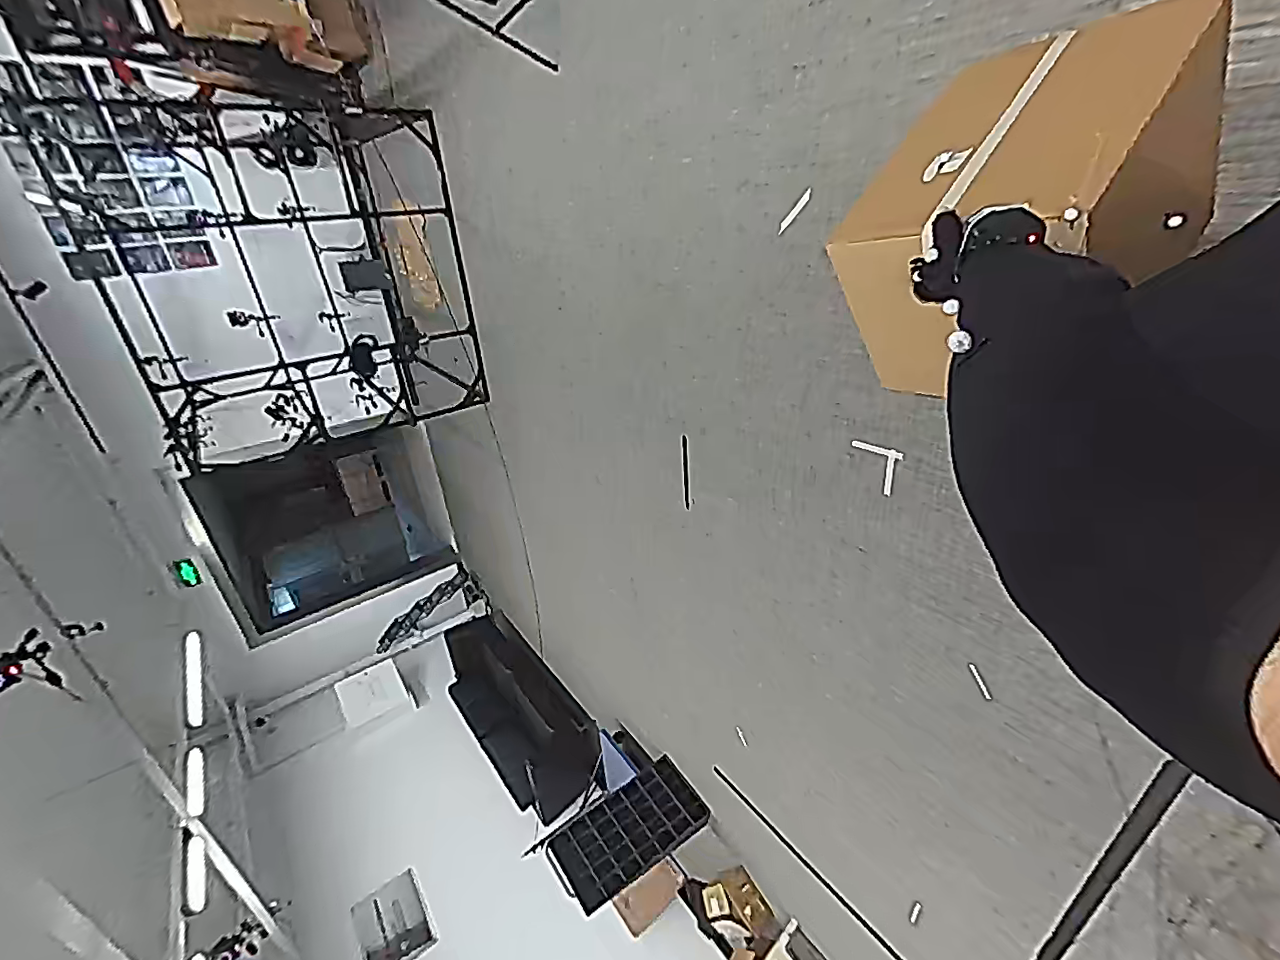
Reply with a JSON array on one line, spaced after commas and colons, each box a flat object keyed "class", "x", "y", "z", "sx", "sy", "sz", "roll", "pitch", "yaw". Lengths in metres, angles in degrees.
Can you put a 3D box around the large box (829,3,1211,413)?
[{"class": "large box", "x": 0.561, "y": -0.365, "z": 0.806, "sx": 0.320, "sy": 0.408, "sz": 0.320, "roll": 22, "pitch": 161, "yaw": 52}]
